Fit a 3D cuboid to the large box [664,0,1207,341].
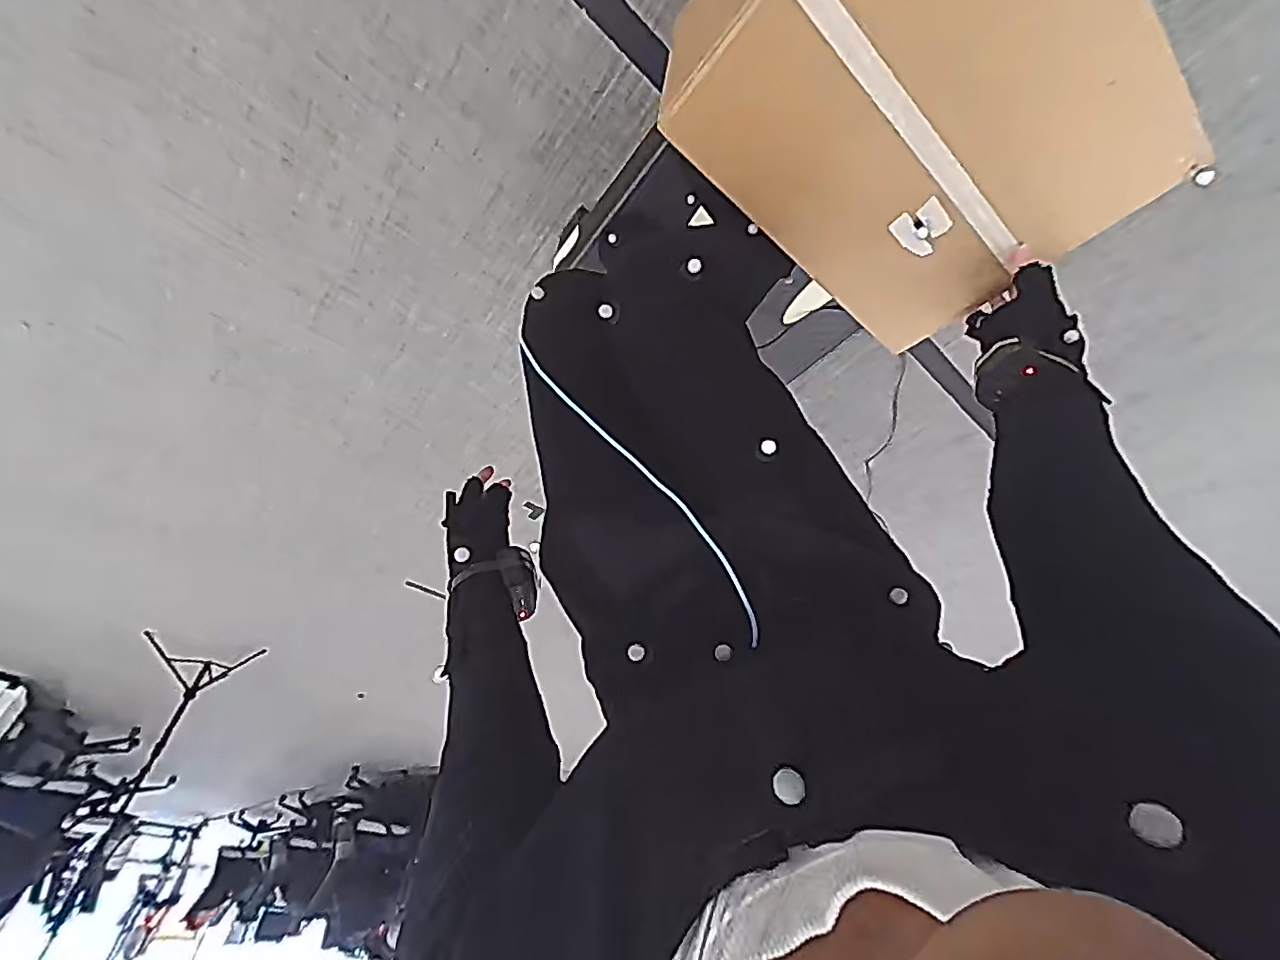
[{"bbox_3d":[0.279,-0.441,0.589,0.408,0.320,0.320,28,140,-28],"label":"large box"}]
